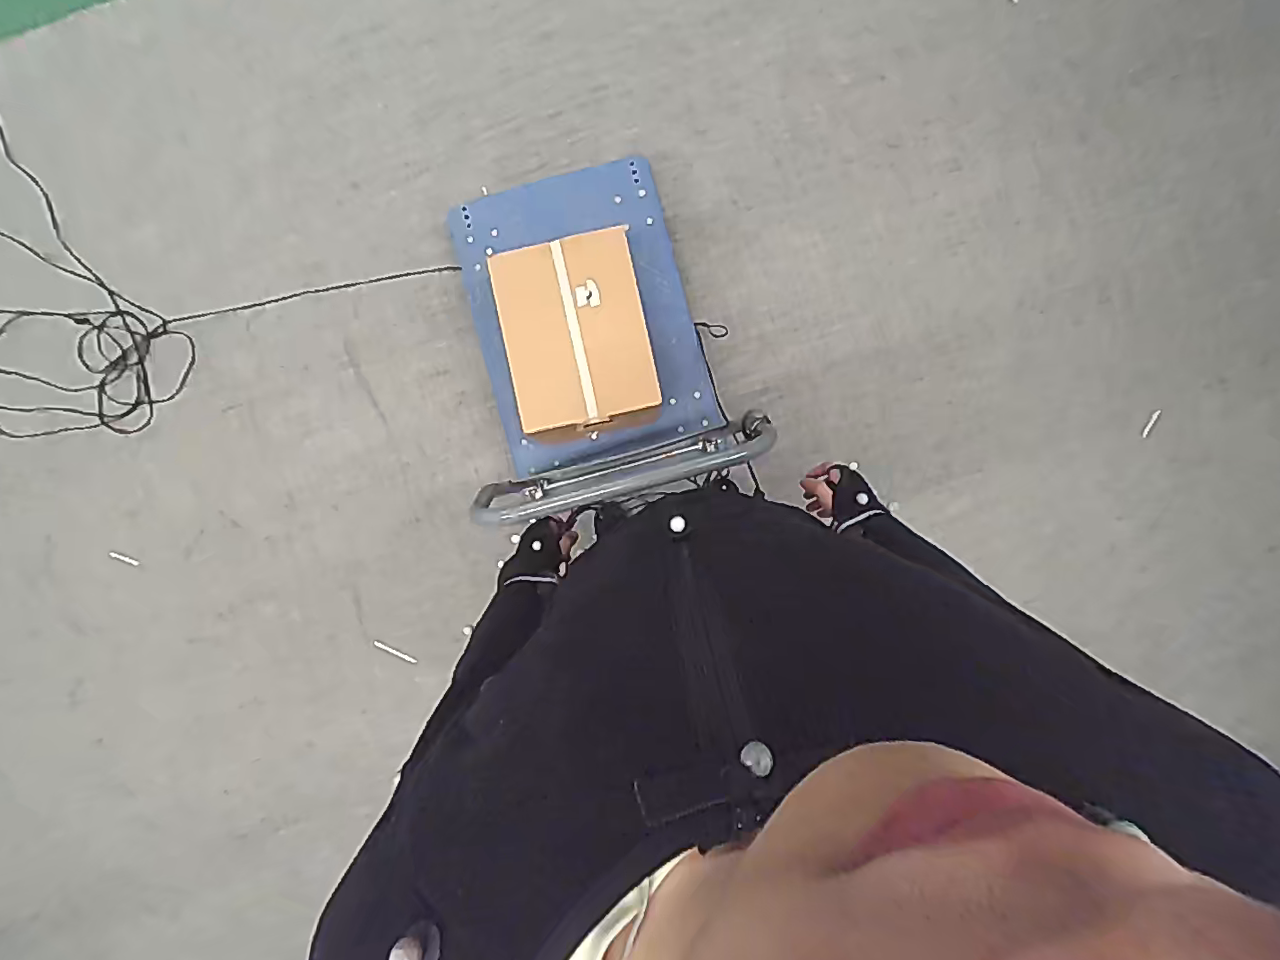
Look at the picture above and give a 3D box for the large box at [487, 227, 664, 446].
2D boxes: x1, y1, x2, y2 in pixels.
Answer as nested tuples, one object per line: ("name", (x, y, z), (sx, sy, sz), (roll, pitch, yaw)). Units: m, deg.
("large box", (-0.138, -0.320, 1.316), (0.320, 0.320, 0.408), (-12, 89, -1))
